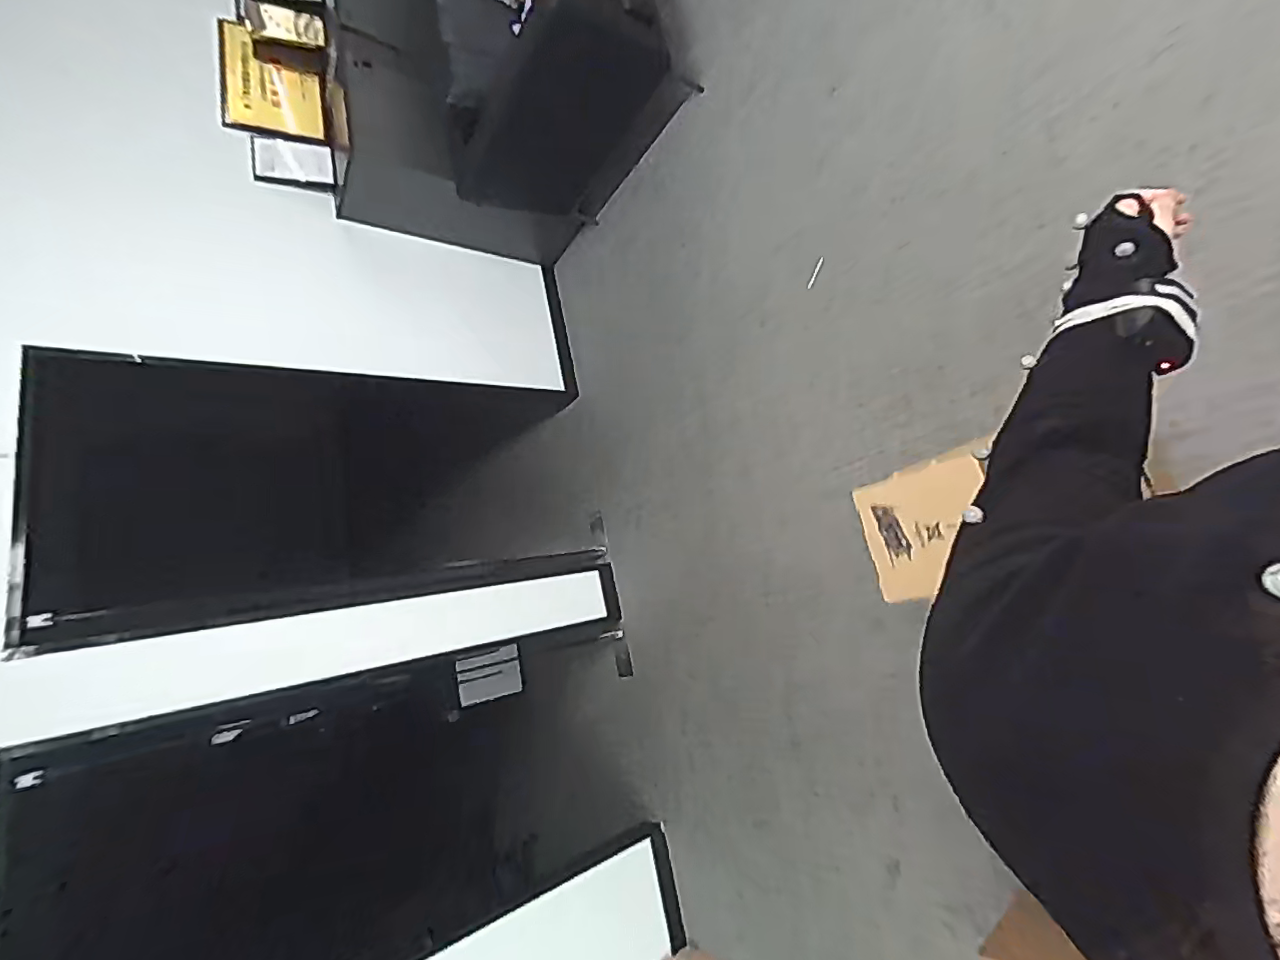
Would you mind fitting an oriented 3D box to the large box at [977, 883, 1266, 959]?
[{"bbox_3d":[0.981,1.070,1.056,0.408,0.320,0.320,-30,68,50],"label":"large box"}]

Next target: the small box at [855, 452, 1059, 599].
[{"bbox_3d":[0.445,0.065,0.766,0.179,0.176,0.168,-26,72,48],"label":"small box"}]
